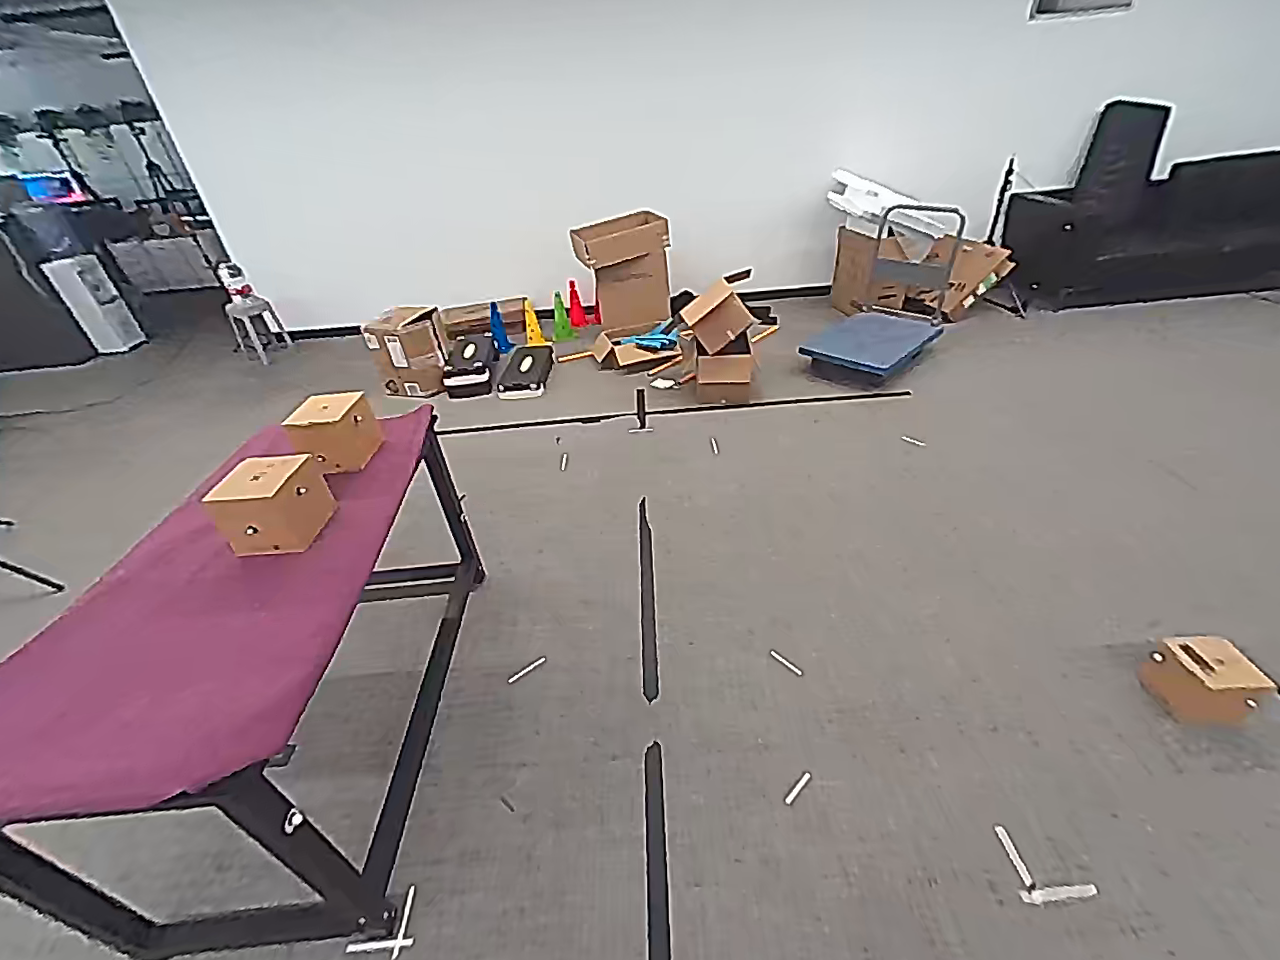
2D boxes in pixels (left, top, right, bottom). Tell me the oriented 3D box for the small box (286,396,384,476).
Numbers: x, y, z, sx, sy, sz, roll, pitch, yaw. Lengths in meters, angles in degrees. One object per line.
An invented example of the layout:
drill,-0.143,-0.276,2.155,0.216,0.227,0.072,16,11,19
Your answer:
small box,-0.871,-0.128,1.570,0.168,0.176,0.179,-4,36,4

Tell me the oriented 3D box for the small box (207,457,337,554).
small box,-0.864,0.065,1.295,0.168,0.176,0.179,-3,35,3
